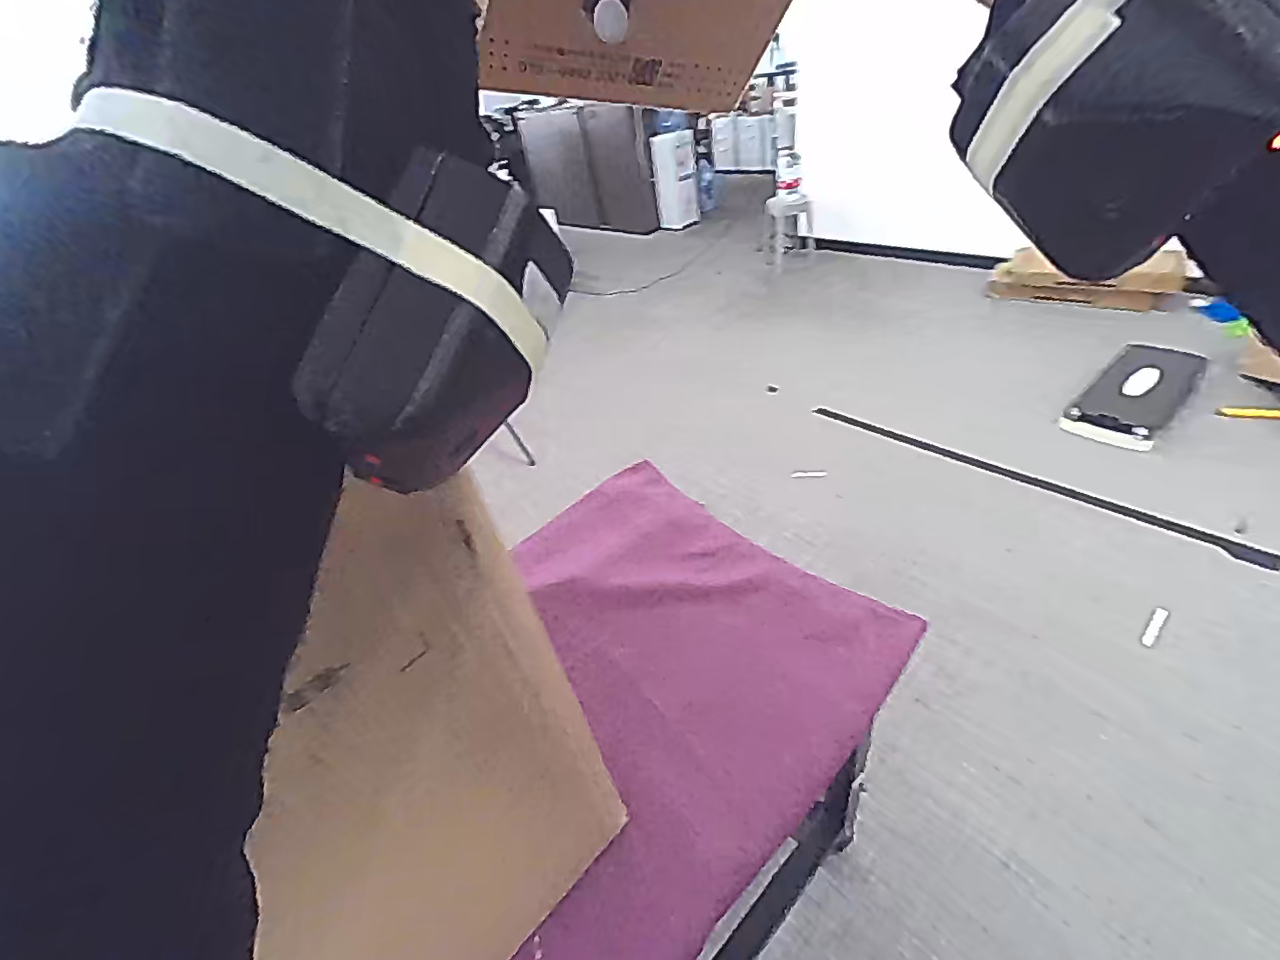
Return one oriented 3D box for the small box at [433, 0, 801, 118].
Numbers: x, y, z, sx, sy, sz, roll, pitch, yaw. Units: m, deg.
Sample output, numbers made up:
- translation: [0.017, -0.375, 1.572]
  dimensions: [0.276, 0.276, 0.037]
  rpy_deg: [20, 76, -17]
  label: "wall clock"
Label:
- translation: [-0.010, -0.299, 0.224]
  dimensions: [0.168, 0.179, 0.176]
  rpy_deg: [-8, -9, -19]
  label: "small box"
